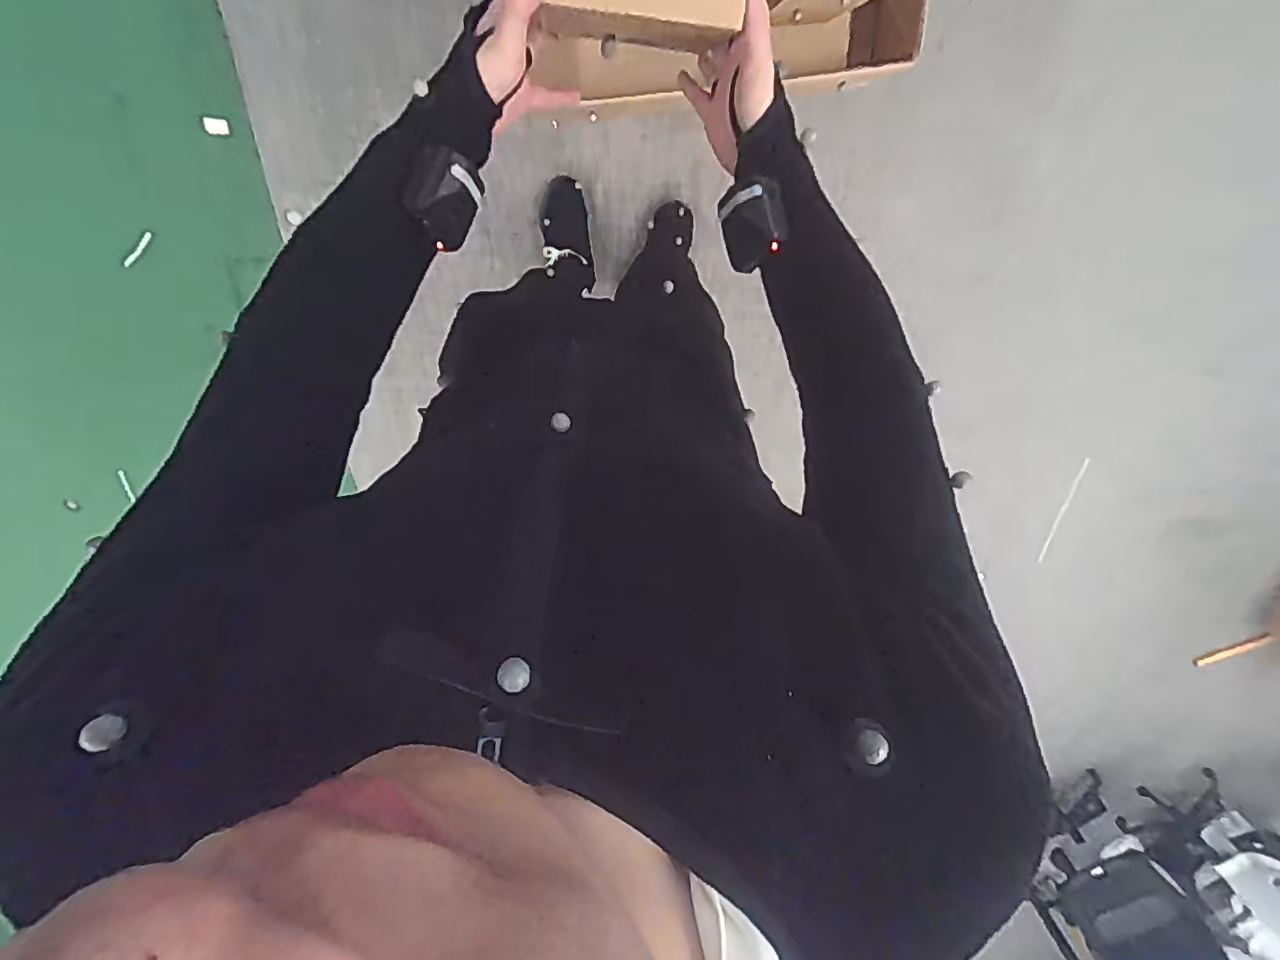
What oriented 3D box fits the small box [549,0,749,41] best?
[{"bbox_3d":[0.004,-0.472,0.417,0.168,0.176,0.179,3,123,-7],"label":"small box"}]
